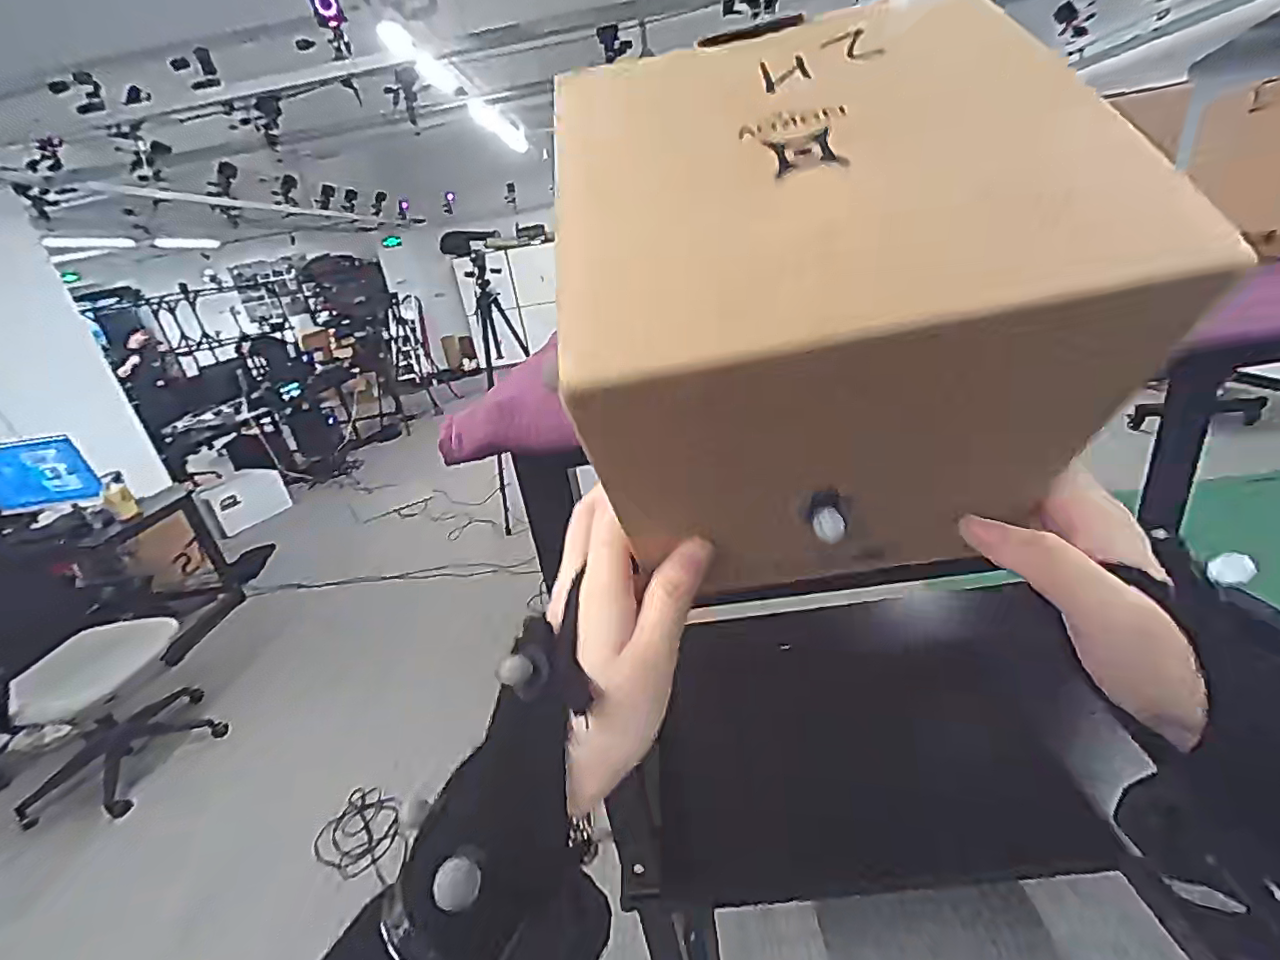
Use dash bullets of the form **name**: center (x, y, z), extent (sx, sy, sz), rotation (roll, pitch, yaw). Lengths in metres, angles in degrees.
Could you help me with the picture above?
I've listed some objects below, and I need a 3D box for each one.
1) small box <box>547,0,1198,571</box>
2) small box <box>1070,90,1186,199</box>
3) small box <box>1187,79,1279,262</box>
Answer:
- **small box**: center (0.063, -0.068, 0.248), extent (0.168, 0.176, 0.179), rotation (-8, 57, 6)
- **small box**: center (0.362, -0.254, 0.538), extent (0.179, 0.176, 0.168), rotation (-10, 23, 3)
- **small box**: center (0.705, -0.317, 0.536), extent (0.179, 0.176, 0.168), rotation (-8, 21, 5)
